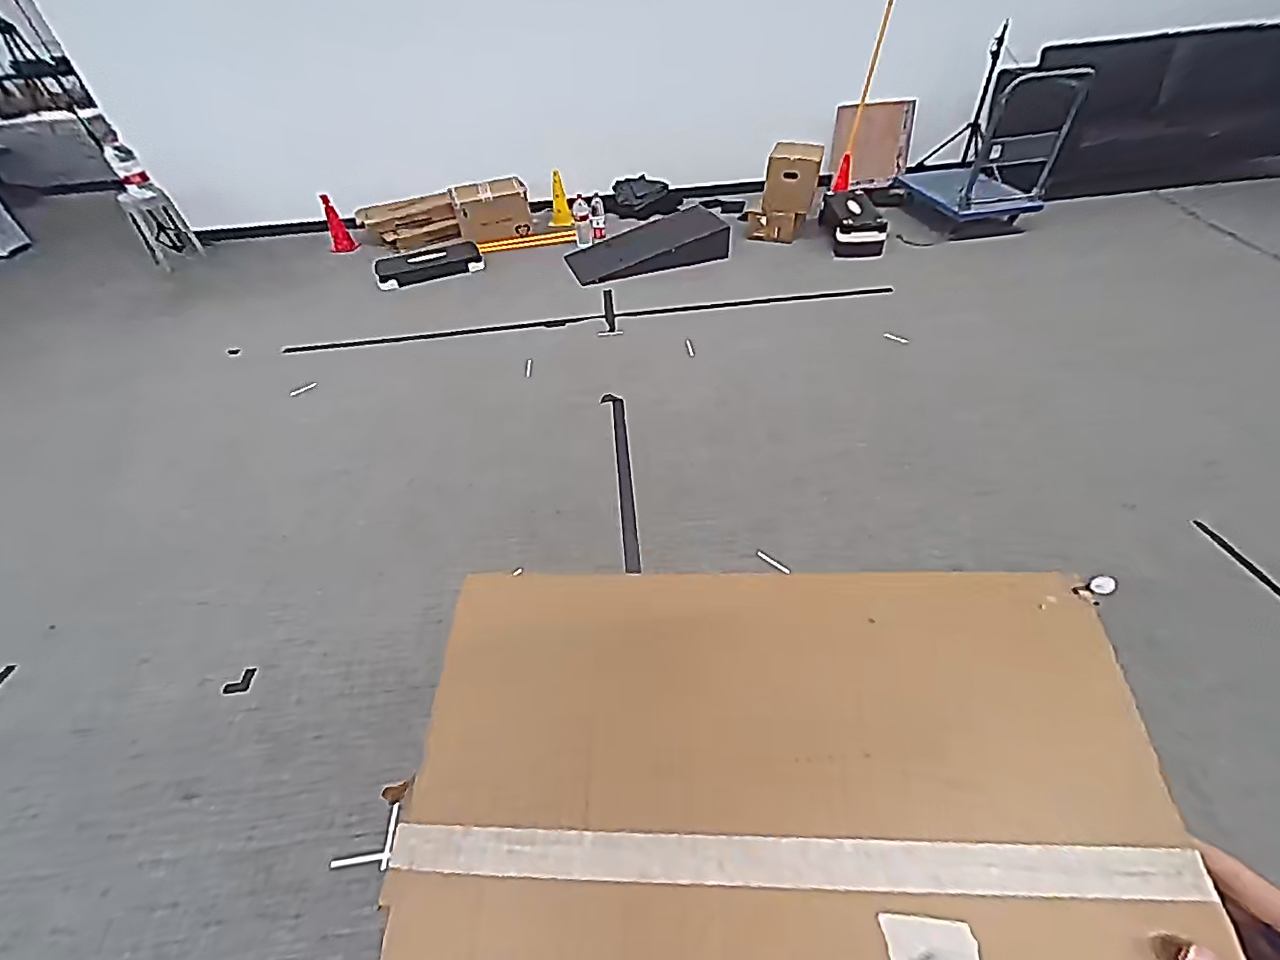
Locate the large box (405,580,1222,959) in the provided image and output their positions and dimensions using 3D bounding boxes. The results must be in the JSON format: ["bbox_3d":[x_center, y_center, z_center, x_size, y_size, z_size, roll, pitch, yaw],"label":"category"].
[{"bbox_3d":[0.087,0.281,0.414,0.408,0.320,0.320,-1,59,4],"label":"large box"}]
